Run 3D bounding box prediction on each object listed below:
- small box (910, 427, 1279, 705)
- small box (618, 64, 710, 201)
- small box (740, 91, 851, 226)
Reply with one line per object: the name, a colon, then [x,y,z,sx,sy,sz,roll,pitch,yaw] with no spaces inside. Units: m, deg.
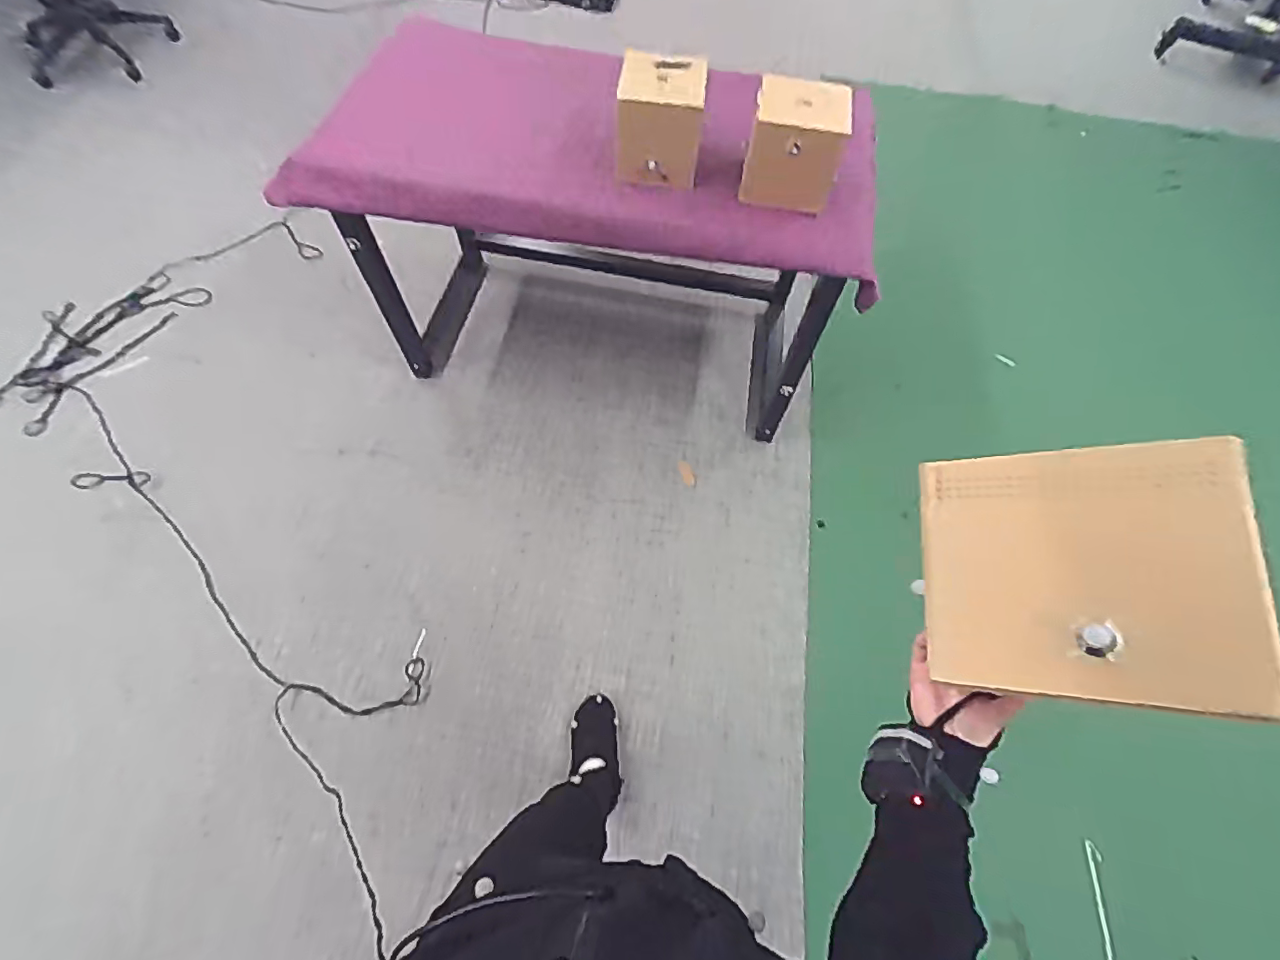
small box: [0.315,0.074,0.418,0.179,0.168,0.176,-7,68,32]
small box: [0.046,-0.714,1.118,0.168,0.176,0.179,7,61,1]
small box: [0.309,-0.645,1.094,0.179,0.176,0.168,12,60,3]
